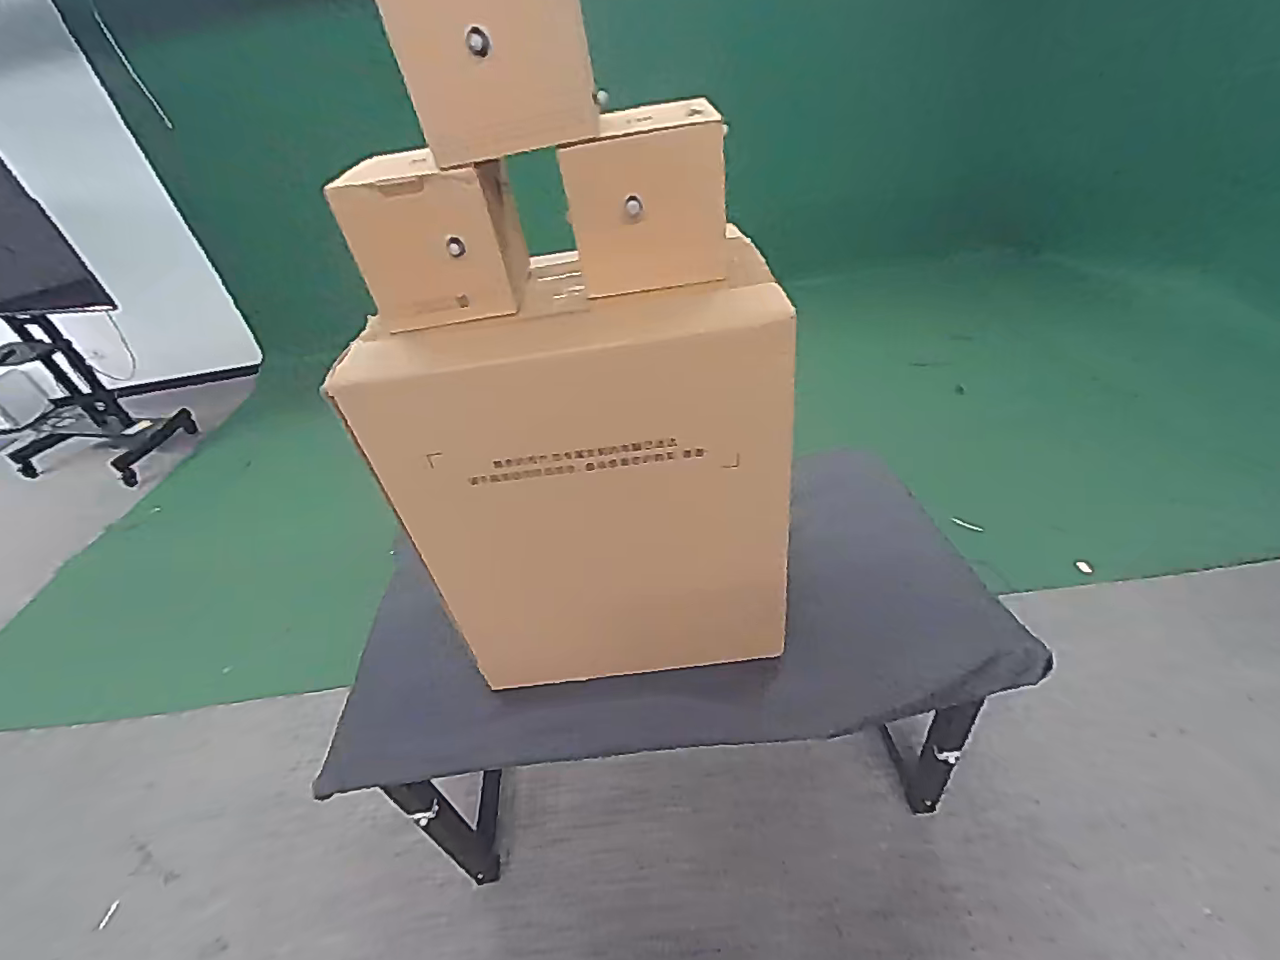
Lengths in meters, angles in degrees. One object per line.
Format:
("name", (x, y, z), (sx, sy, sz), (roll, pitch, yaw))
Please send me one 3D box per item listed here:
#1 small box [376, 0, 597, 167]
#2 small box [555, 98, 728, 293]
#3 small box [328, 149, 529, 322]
("small box", (-0.144, -0.451, 0.568), (0.179, 0.176, 0.168), (-10, 41, 4))
("small box", (0.008, -0.347, 0.668), (0.179, 0.176, 0.168), (-8, 41, 5))
("small box", (-0.246, -0.309, 0.683), (0.168, 0.176, 0.179), (-7, 40, 2))
